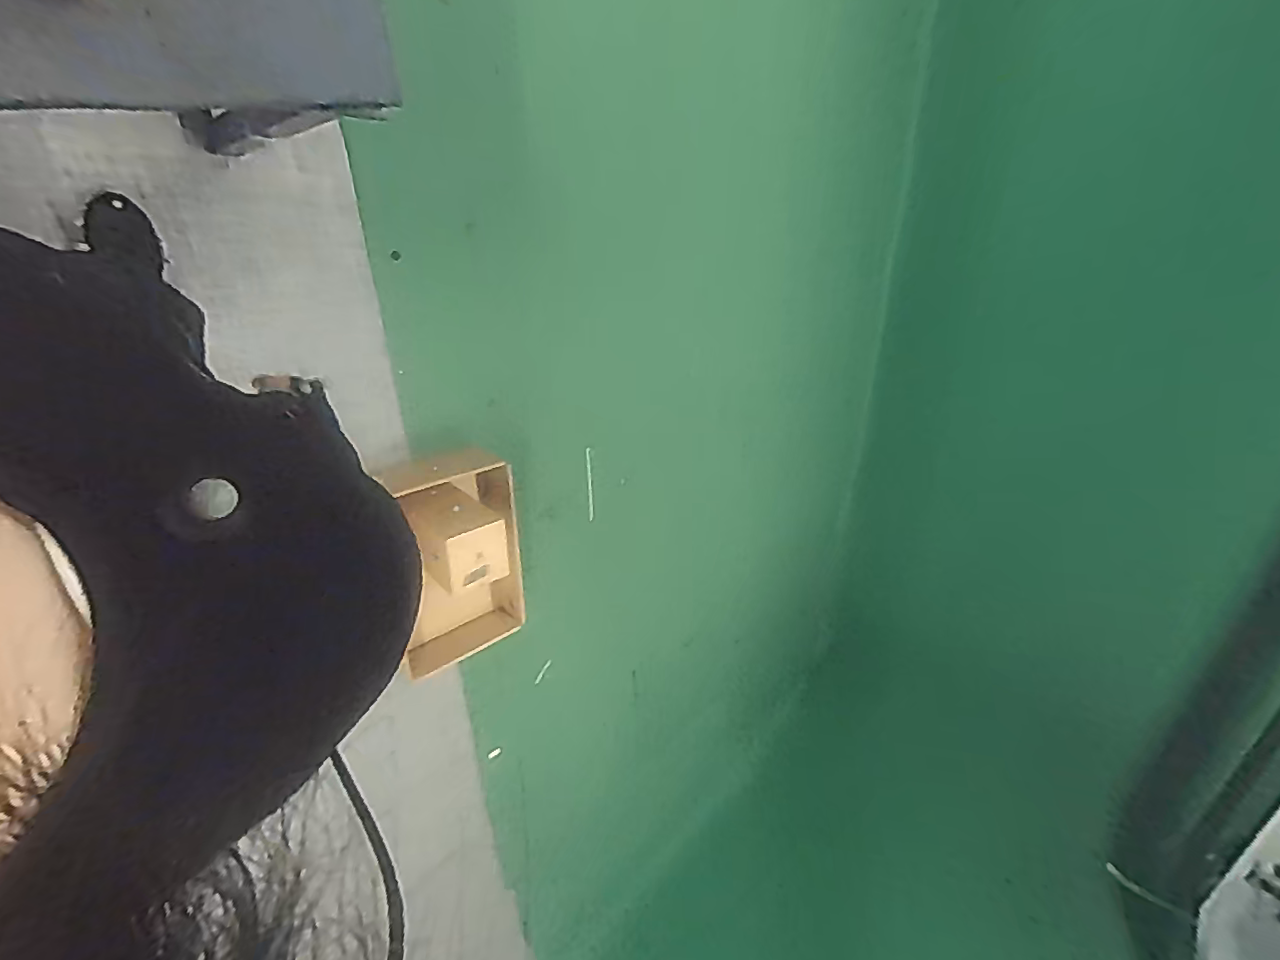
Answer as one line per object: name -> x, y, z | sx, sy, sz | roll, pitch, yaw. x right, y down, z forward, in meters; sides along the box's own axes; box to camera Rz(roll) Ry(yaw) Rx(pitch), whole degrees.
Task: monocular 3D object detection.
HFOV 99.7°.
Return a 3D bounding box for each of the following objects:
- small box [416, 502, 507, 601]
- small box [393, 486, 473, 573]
small box -> -0.470, 0.182, 1.429 | 0.168, 0.176, 0.179 | -21, 122, -40
small box -> -0.582, 0.129, 1.537 | 0.168, 0.176, 0.179 | -21, 123, -39
